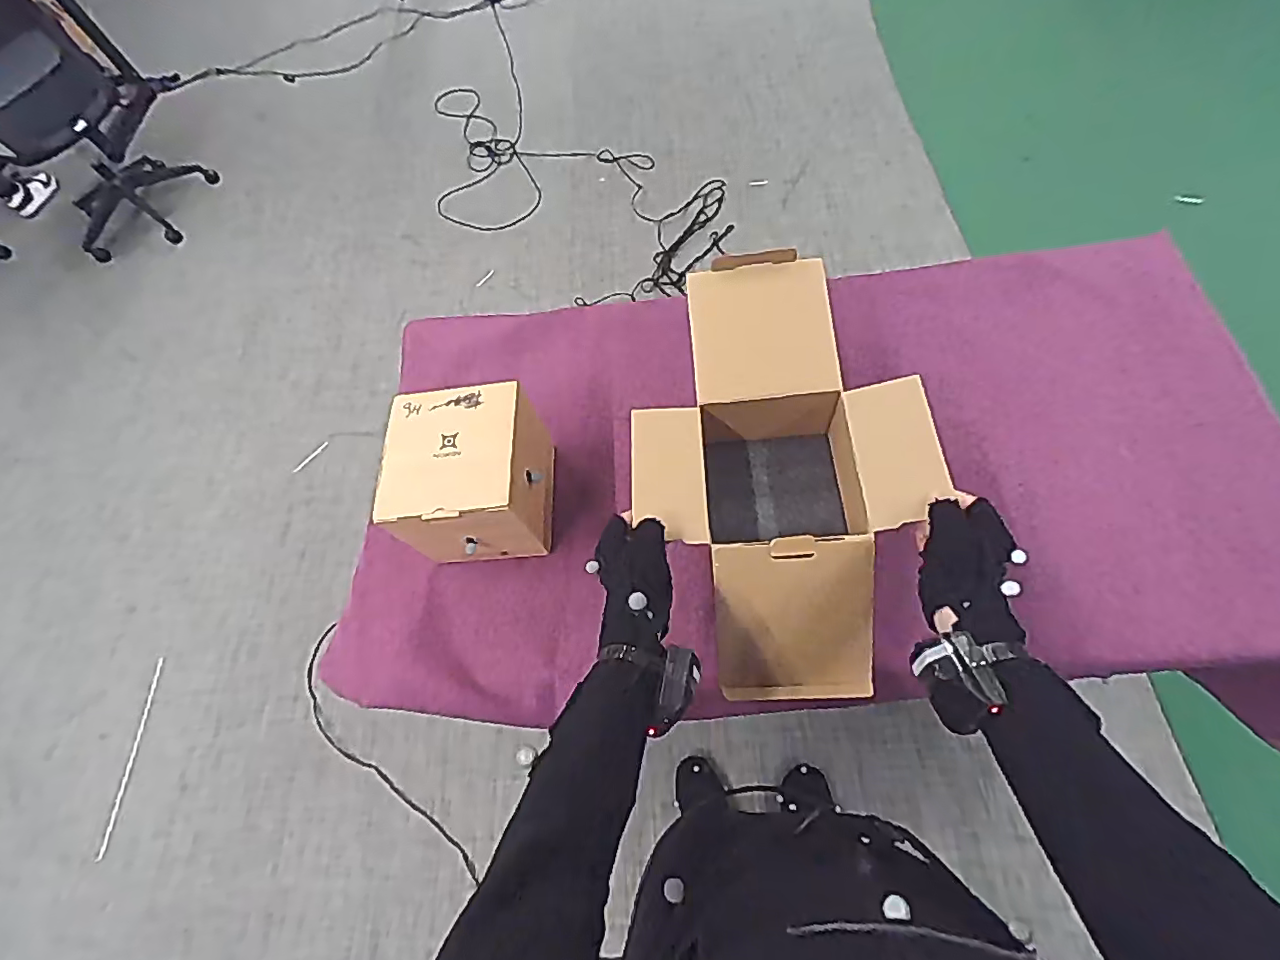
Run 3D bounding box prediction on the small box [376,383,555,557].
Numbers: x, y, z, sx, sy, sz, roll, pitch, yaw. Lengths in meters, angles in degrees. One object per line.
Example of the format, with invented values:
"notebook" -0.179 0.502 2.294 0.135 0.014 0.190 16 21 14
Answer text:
"small box" -0.215 -0.002 0.717 0.168 0.176 0.179 -6 64 6
